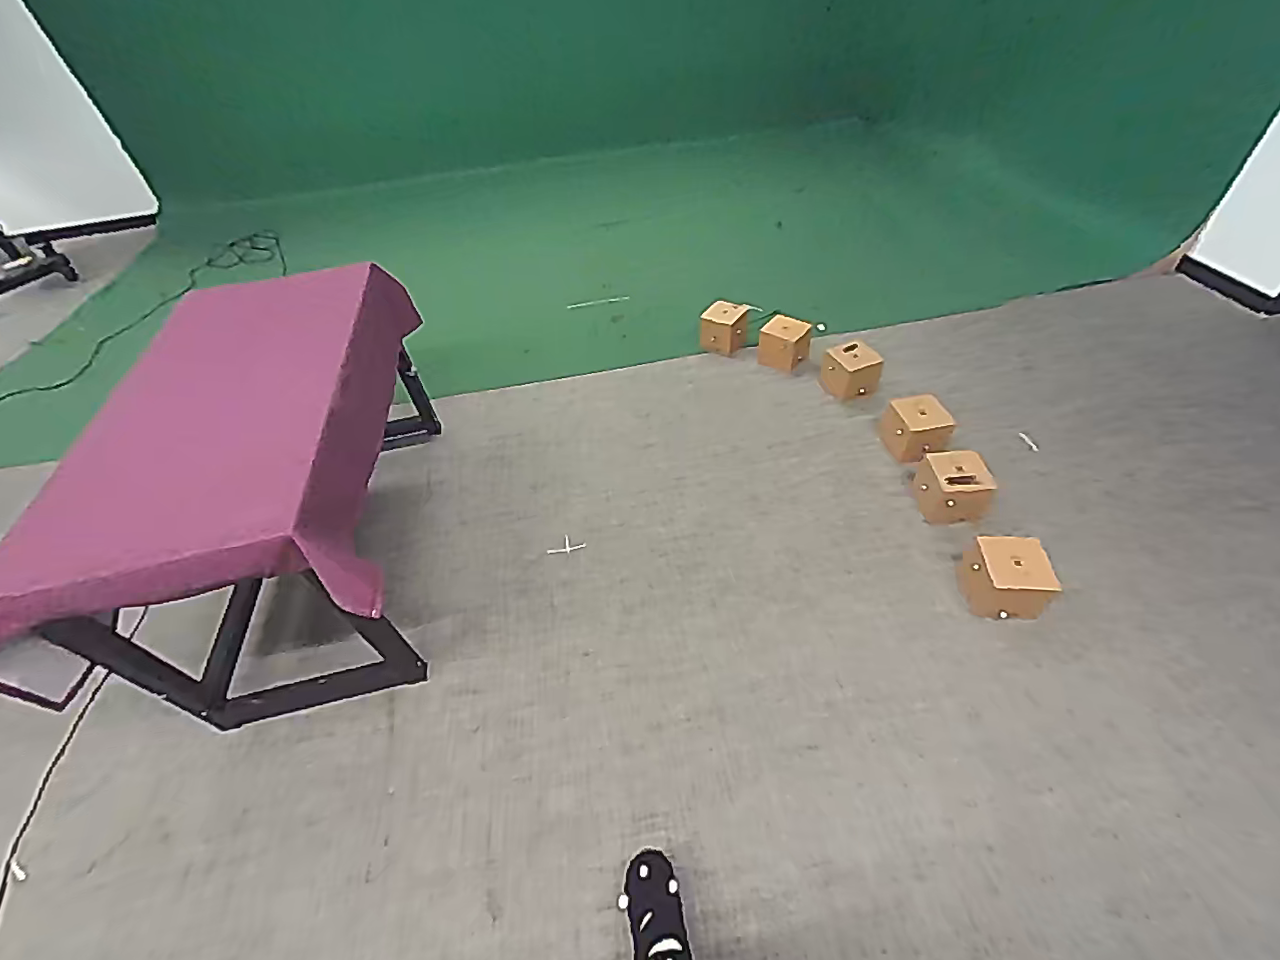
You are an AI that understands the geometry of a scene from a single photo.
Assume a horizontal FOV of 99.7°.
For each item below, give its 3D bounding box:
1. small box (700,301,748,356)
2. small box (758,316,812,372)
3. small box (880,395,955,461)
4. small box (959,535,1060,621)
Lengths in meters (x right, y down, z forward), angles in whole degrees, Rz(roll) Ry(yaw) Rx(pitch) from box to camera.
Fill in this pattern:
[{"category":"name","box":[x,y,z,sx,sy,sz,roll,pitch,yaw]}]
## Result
[{"category":"small box","box":[0.398,-0.714,2.558,0.168,0.176,0.179,25,55,27]},{"category":"small box","box":[0.648,-0.609,2.433,0.179,0.176,0.168,29,56,29]},{"category":"small box","box":[1.012,-0.185,1.987,0.168,0.176,0.179,-9,47,-2]},{"category":"small box","box":[1.045,0.281,1.549,0.168,0.176,0.179,2,48,9]}]
